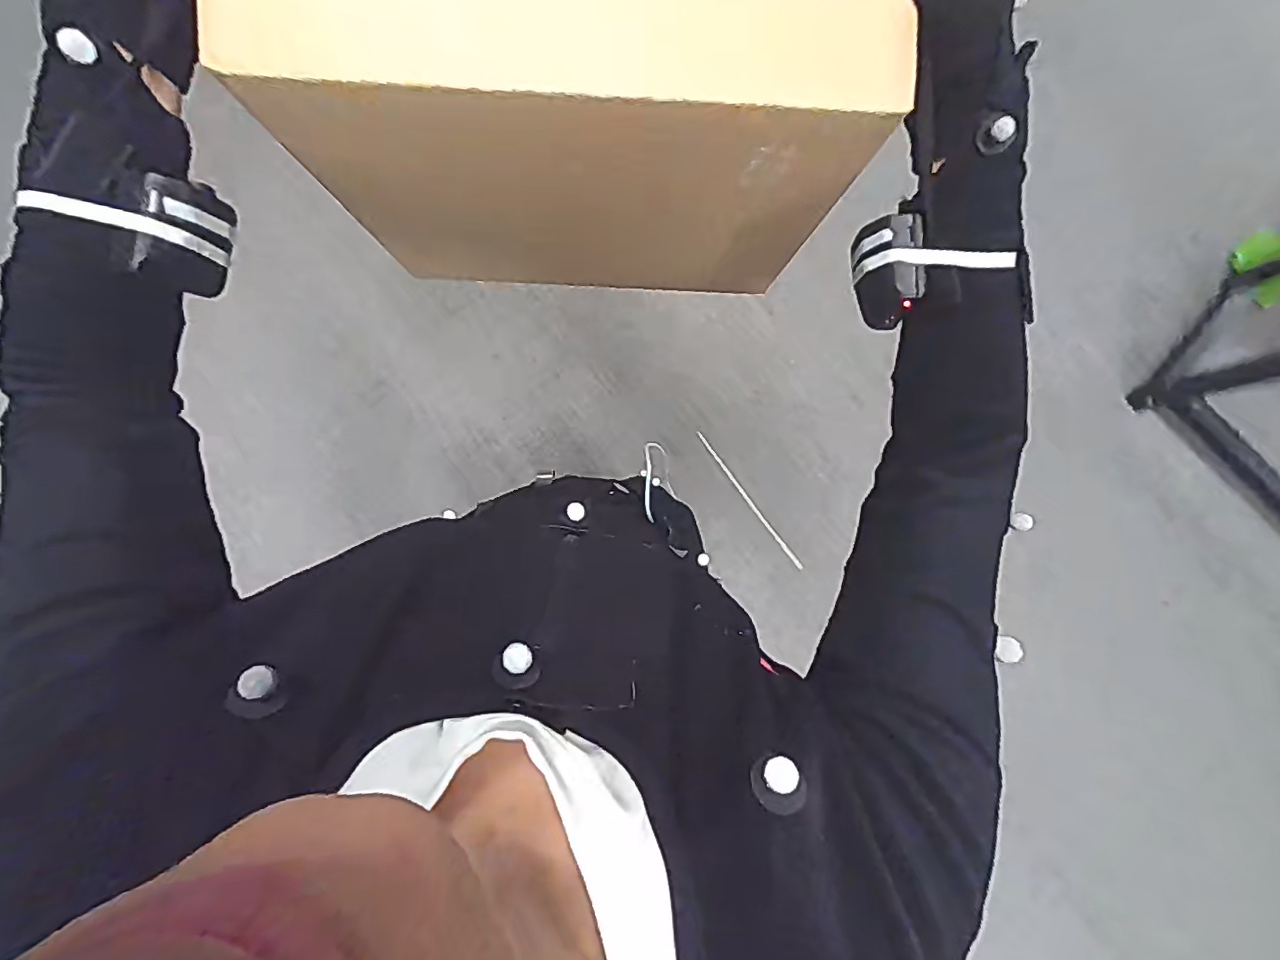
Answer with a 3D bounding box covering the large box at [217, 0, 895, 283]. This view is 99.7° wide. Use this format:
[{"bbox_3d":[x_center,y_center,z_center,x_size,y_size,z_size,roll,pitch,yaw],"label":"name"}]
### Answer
[{"bbox_3d":[-0.053,-0.379,0.469,0.408,0.320,0.320,0,90,-4],"label":"large box"}]
